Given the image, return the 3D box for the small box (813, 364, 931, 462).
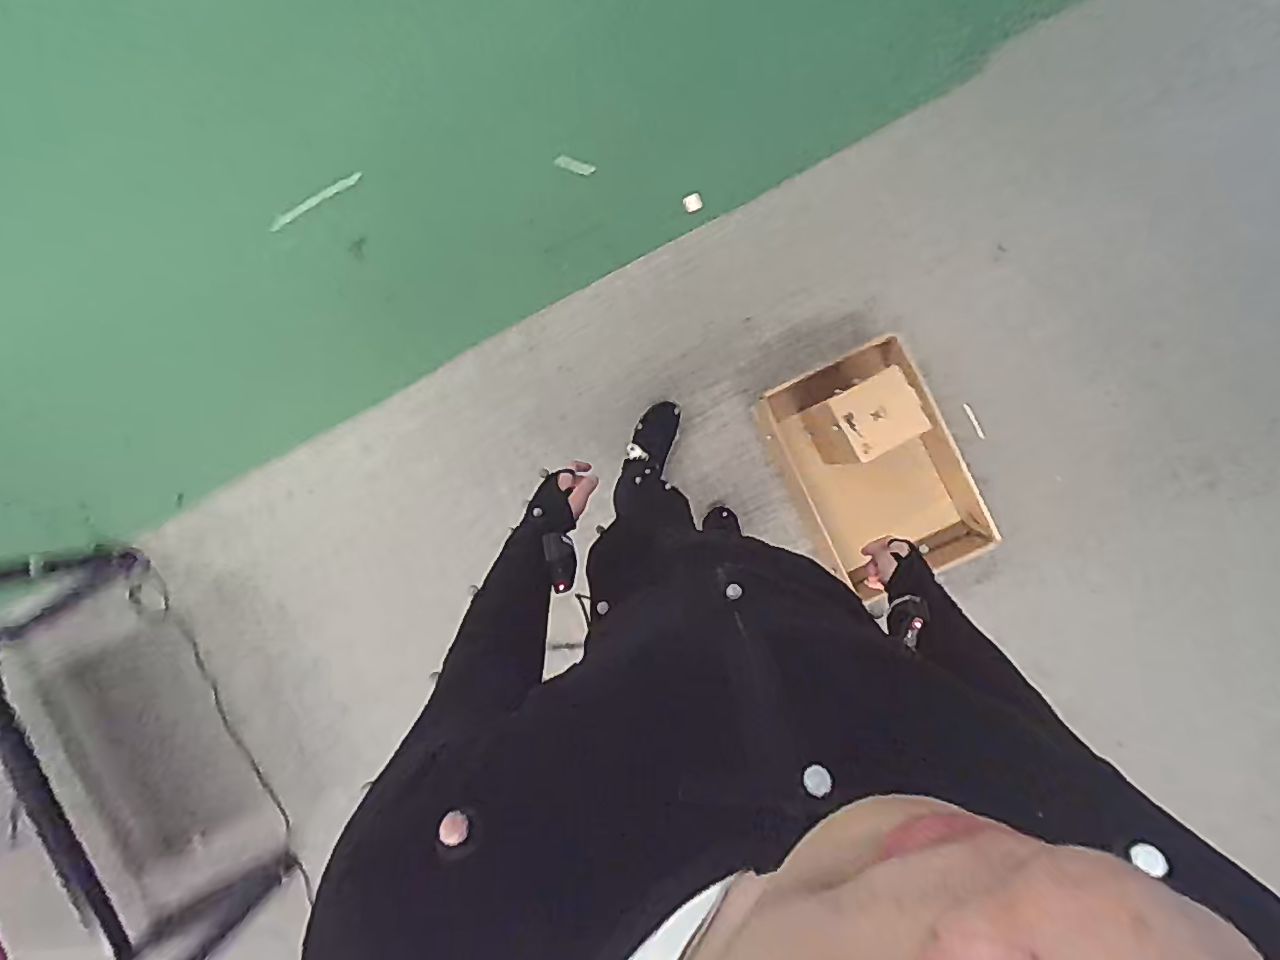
[{"bbox_3d":[0.545,-0.153,1.293,0.179,0.176,0.168,-28,89,4],"label":"small box"}]
